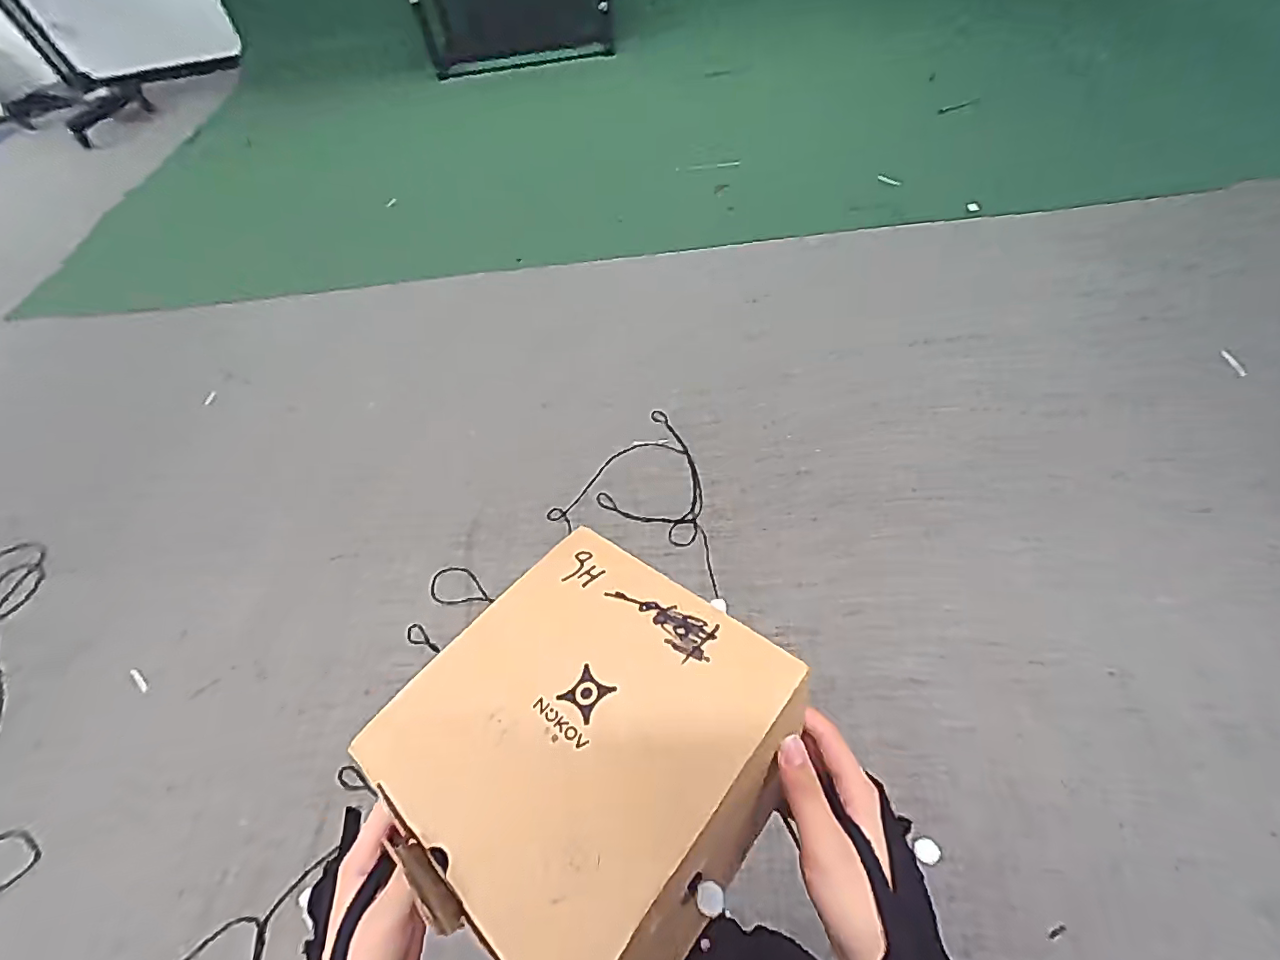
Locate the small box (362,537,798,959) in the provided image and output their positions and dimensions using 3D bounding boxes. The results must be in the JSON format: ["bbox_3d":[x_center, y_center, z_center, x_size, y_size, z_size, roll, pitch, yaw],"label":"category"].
[{"bbox_3d":[-0.019,0.175,0.333,0.168,0.176,0.179,28,59,33],"label":"small box"}]
